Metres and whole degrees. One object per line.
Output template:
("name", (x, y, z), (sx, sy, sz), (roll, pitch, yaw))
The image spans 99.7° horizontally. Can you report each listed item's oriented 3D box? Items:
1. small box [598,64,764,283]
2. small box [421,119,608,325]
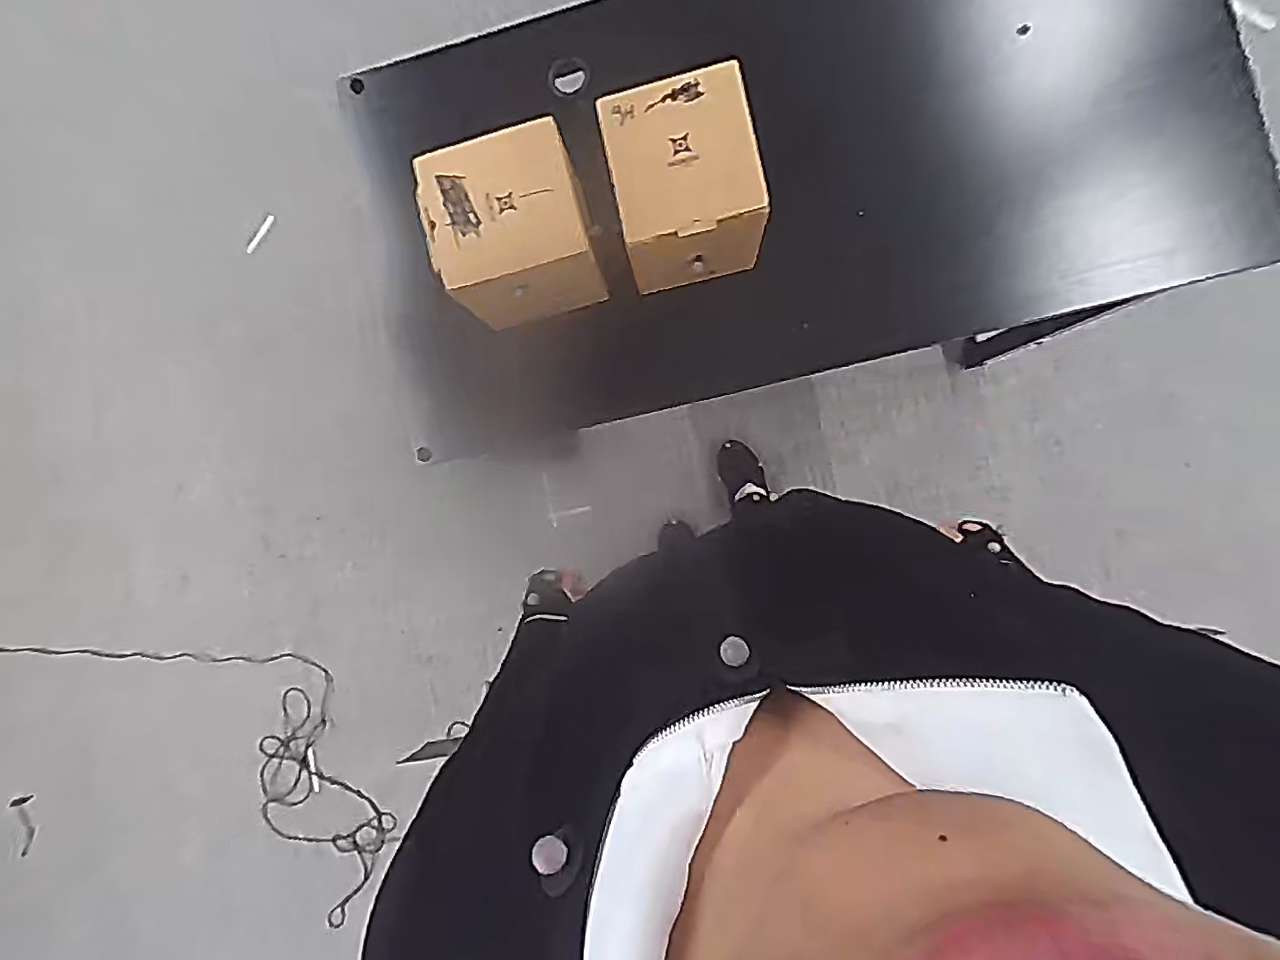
("small box", (0.054, -0.372, 0.696), (0.168, 0.176, 0.179), (-12, 89, 5))
("small box", (-0.154, -0.324, 0.718), (0.179, 0.176, 0.168), (-15, 88, 5))
